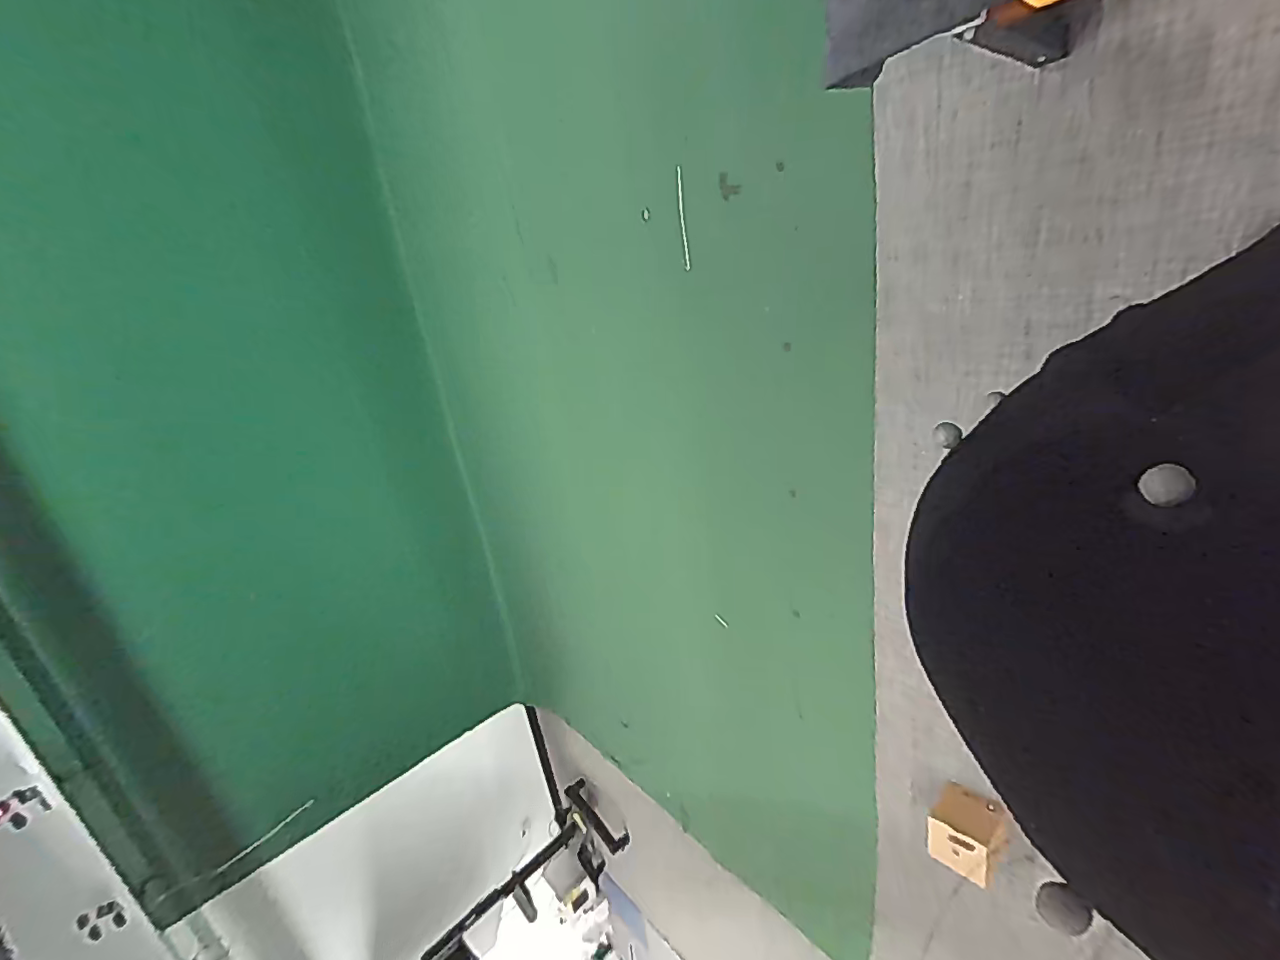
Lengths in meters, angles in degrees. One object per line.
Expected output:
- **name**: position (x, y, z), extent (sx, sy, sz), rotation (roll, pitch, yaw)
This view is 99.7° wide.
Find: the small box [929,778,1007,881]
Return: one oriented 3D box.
- **small box**: position (1.026, 1.084, 1.693), extent (0.168, 0.176, 0.179), rotation (12, 119, 48)
